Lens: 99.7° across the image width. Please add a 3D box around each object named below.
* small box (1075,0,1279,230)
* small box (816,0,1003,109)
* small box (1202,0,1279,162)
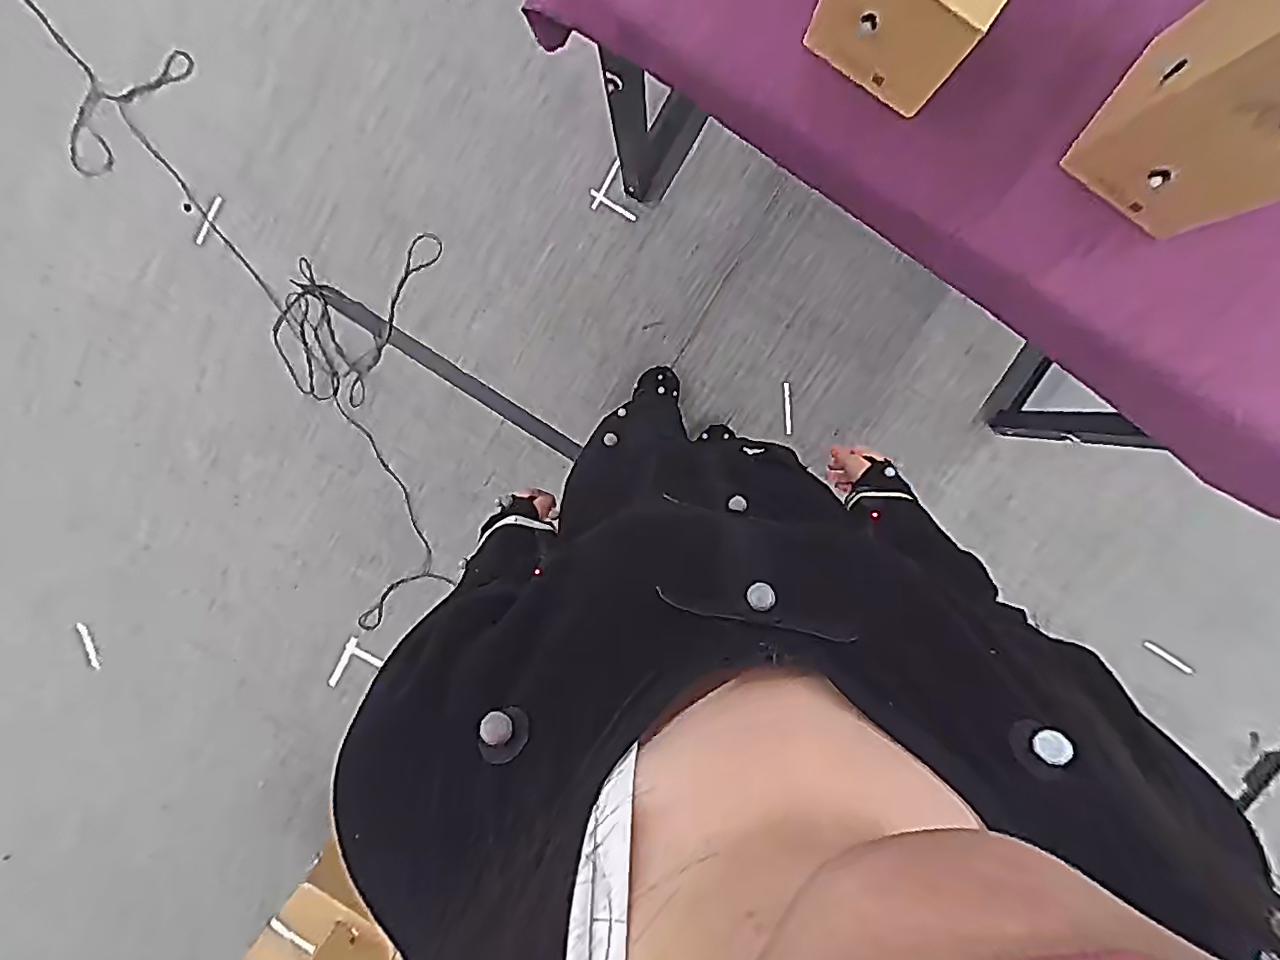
[{"bbox_3d":[0.637,-0.412,0.593,0.168,0.176,0.179,35,98,-3],"label":"small box"},{"bbox_3d":[0.314,-0.559,0.585,0.168,0.176,0.179,33,97,-3],"label":"small box"},{"bbox_3d":[0.636,-0.390,0.430,0.168,0.176,0.179,35,98,-3],"label":"small box"}]
